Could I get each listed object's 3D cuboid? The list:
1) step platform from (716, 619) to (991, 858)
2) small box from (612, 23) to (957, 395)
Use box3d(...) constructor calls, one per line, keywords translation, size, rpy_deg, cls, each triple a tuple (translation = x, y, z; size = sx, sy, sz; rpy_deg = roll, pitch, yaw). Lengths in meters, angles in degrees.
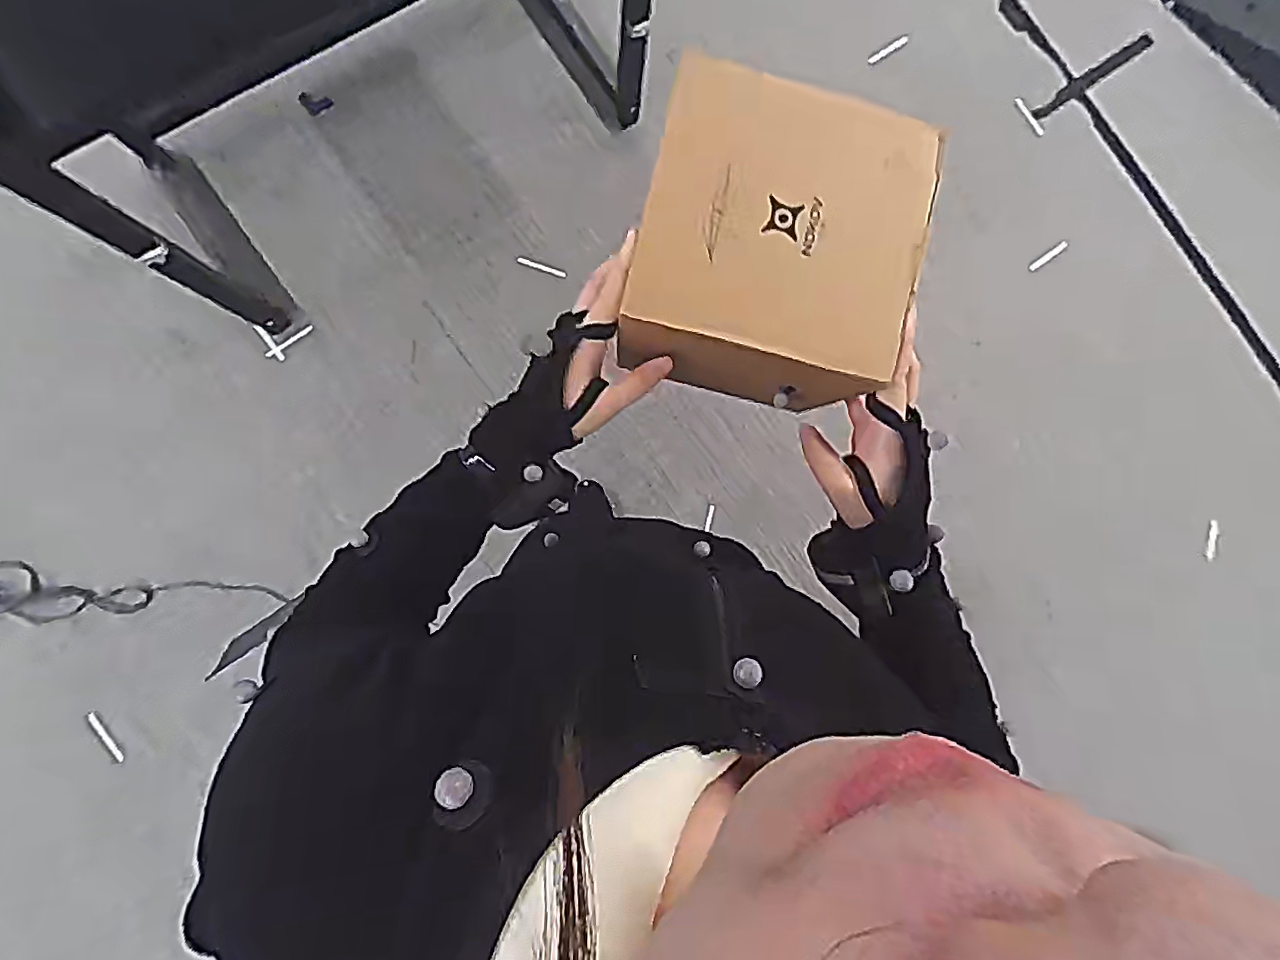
box3d(translation=(0.555, 0.656, 1.421), size=(0.684, 0.204, 0.286), rpy_deg=(-29, 90, -7), cls="step platform")
box3d(translation=(0.082, -0.166, 0.396), size=(0.179, 0.176, 0.168), rpy_deg=(13, 90, -3), cls="small box")
